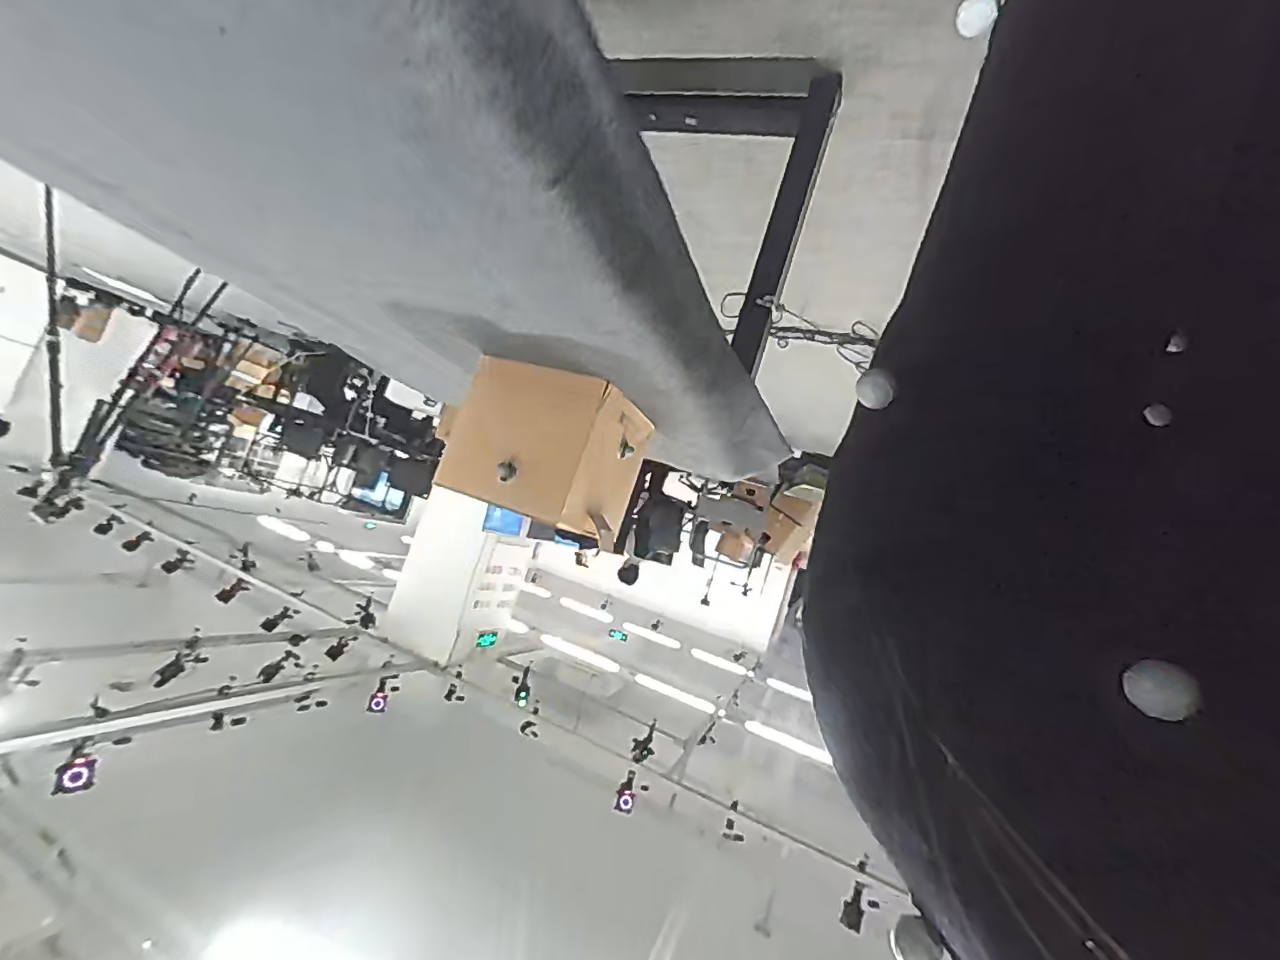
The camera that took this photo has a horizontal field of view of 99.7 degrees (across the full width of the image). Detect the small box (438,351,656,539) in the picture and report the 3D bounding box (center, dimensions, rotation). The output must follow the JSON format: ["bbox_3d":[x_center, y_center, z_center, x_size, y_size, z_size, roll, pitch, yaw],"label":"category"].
[{"bbox_3d":[-0.103,-0.042,0.663,0.179,0.176,0.168,16,173,22],"label":"small box"}]
